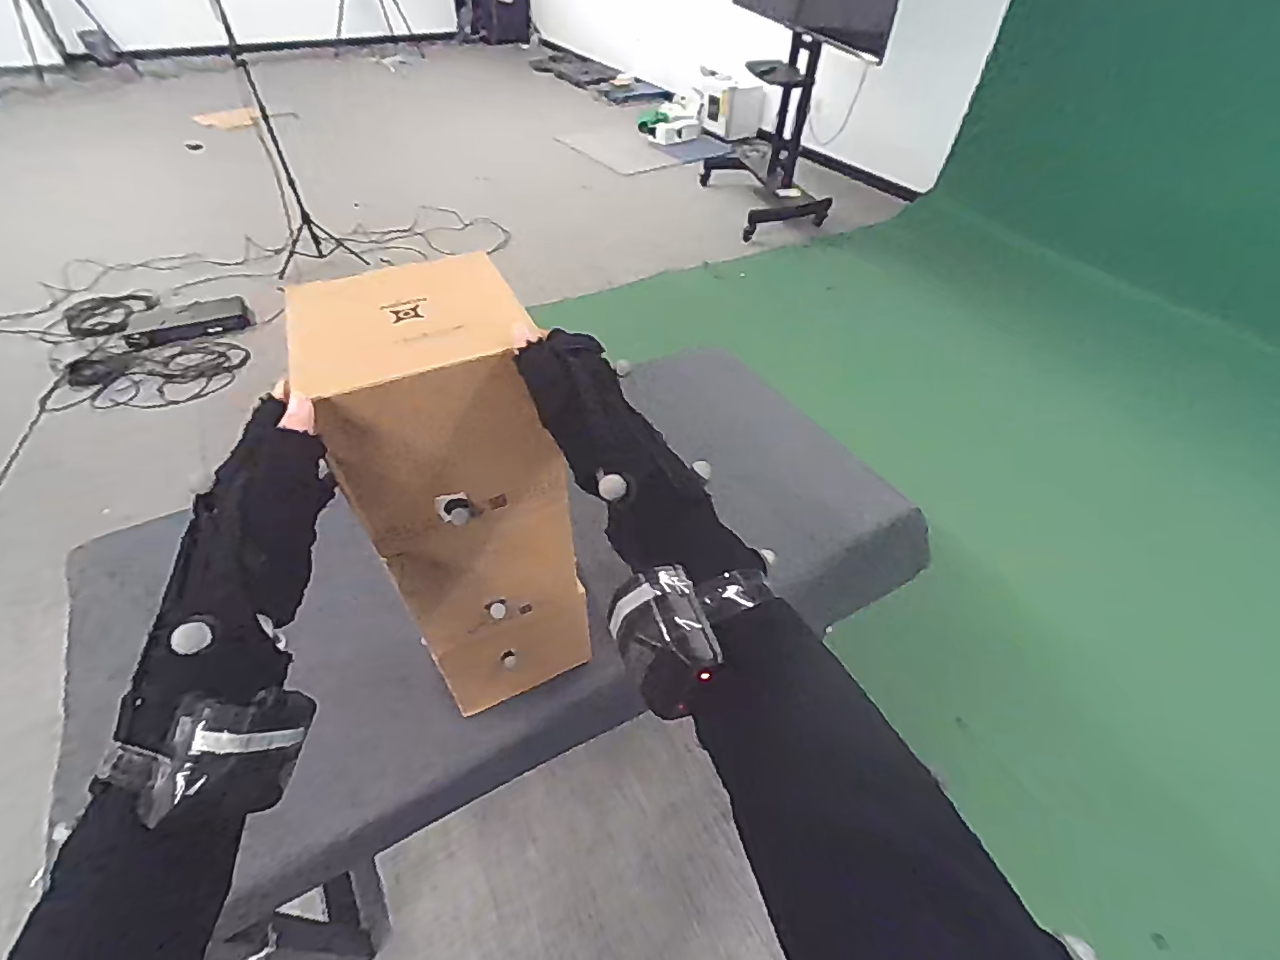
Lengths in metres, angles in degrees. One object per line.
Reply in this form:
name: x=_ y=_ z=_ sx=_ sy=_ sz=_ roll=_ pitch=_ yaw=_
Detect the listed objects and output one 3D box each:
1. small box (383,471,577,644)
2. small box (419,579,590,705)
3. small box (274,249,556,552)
small box: x=-0.179 y=0.040 z=0.583 sx=0.168 sy=0.176 sz=0.179 roll=-21 pitch=47 yaw=-19
small box: x=-0.178 y=0.157 z=0.698 sx=0.179 sy=0.176 sz=0.168 roll=-21 pitch=50 yaw=-18
small box: x=-0.182 y=-0.071 z=0.463 sx=0.168 sy=0.176 sz=0.179 roll=-19 pitch=48 yaw=-16
